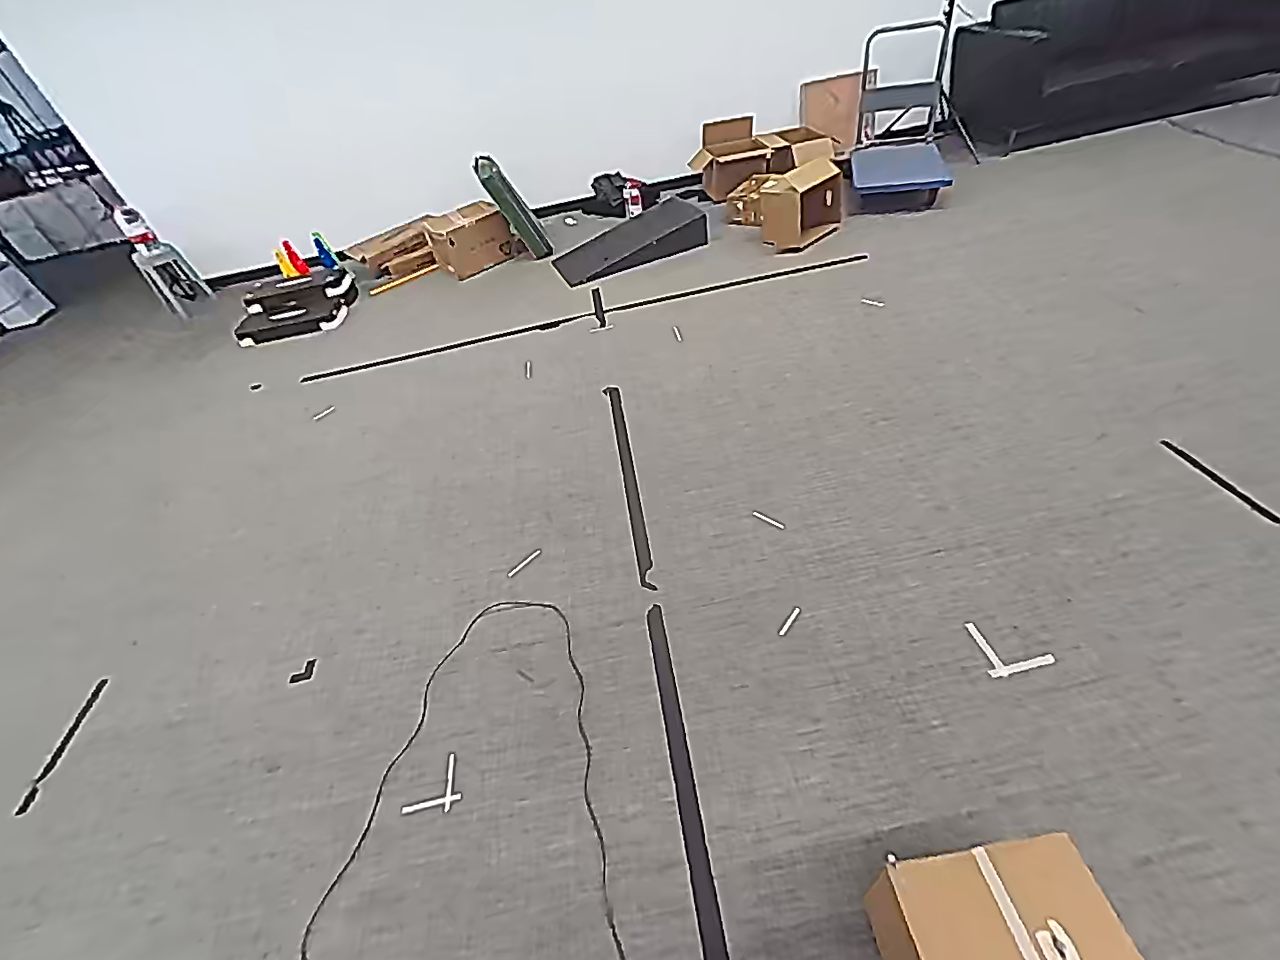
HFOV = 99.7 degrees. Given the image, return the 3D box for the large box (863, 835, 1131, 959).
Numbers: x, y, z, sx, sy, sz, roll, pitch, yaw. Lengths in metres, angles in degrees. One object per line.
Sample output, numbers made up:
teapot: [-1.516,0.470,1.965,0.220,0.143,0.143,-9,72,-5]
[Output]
large box: [0.614,0.879,0.887,0.320,0.320,0.408,-10,42,0]
